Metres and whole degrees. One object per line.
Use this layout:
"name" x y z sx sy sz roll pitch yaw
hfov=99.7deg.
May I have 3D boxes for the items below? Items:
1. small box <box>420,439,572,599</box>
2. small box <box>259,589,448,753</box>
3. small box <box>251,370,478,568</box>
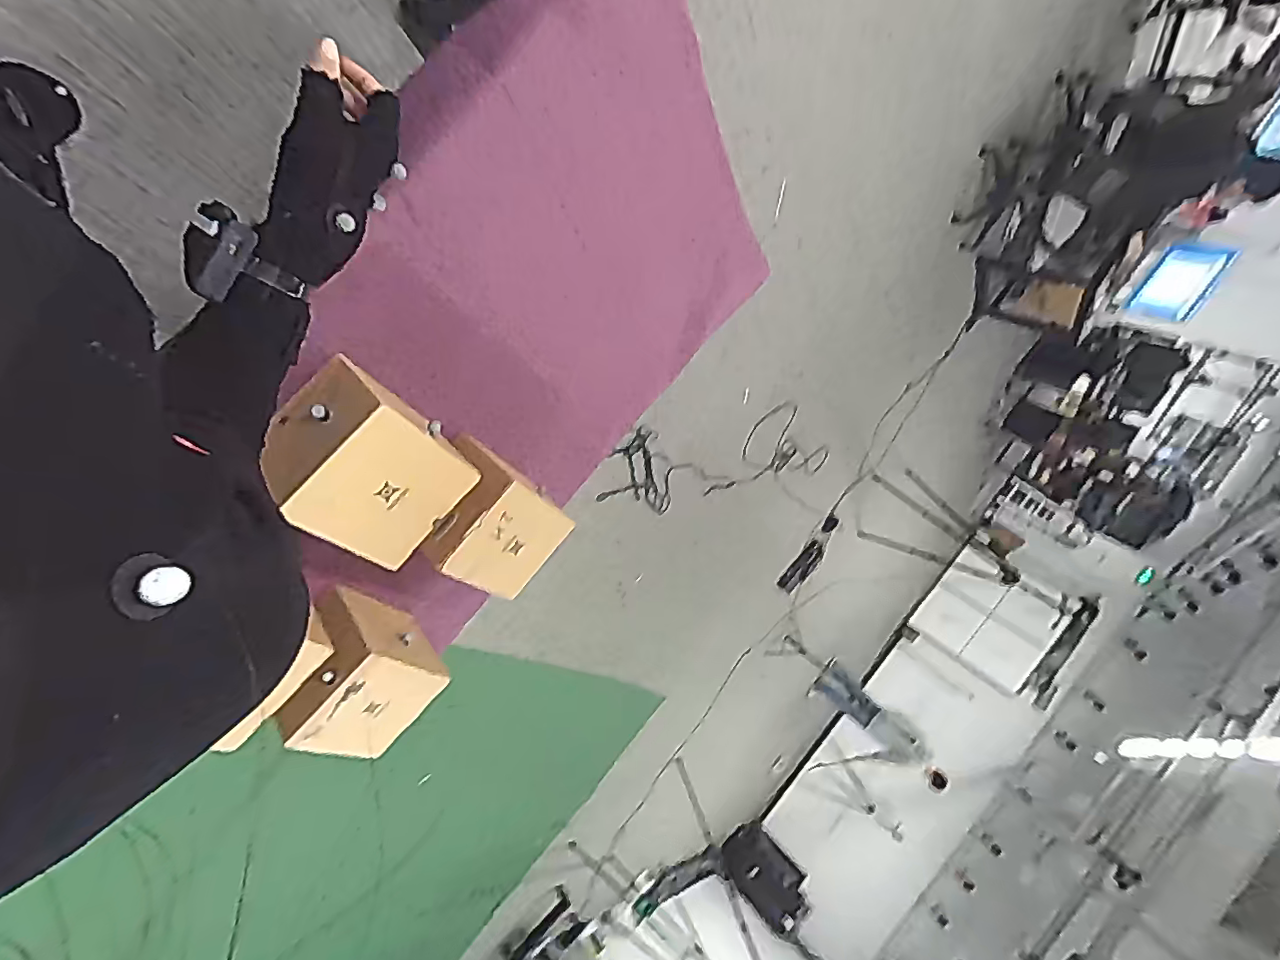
"small box" -0.250 0.061 0.881 0.168 0.176 0.179 -50 143 -5
"small box" -0.451 0.300 0.857 0.168 0.176 0.179 -48 144 -9
"small box" -0.355 -0.021 0.700 0.168 0.176 0.179 -49 143 -7
